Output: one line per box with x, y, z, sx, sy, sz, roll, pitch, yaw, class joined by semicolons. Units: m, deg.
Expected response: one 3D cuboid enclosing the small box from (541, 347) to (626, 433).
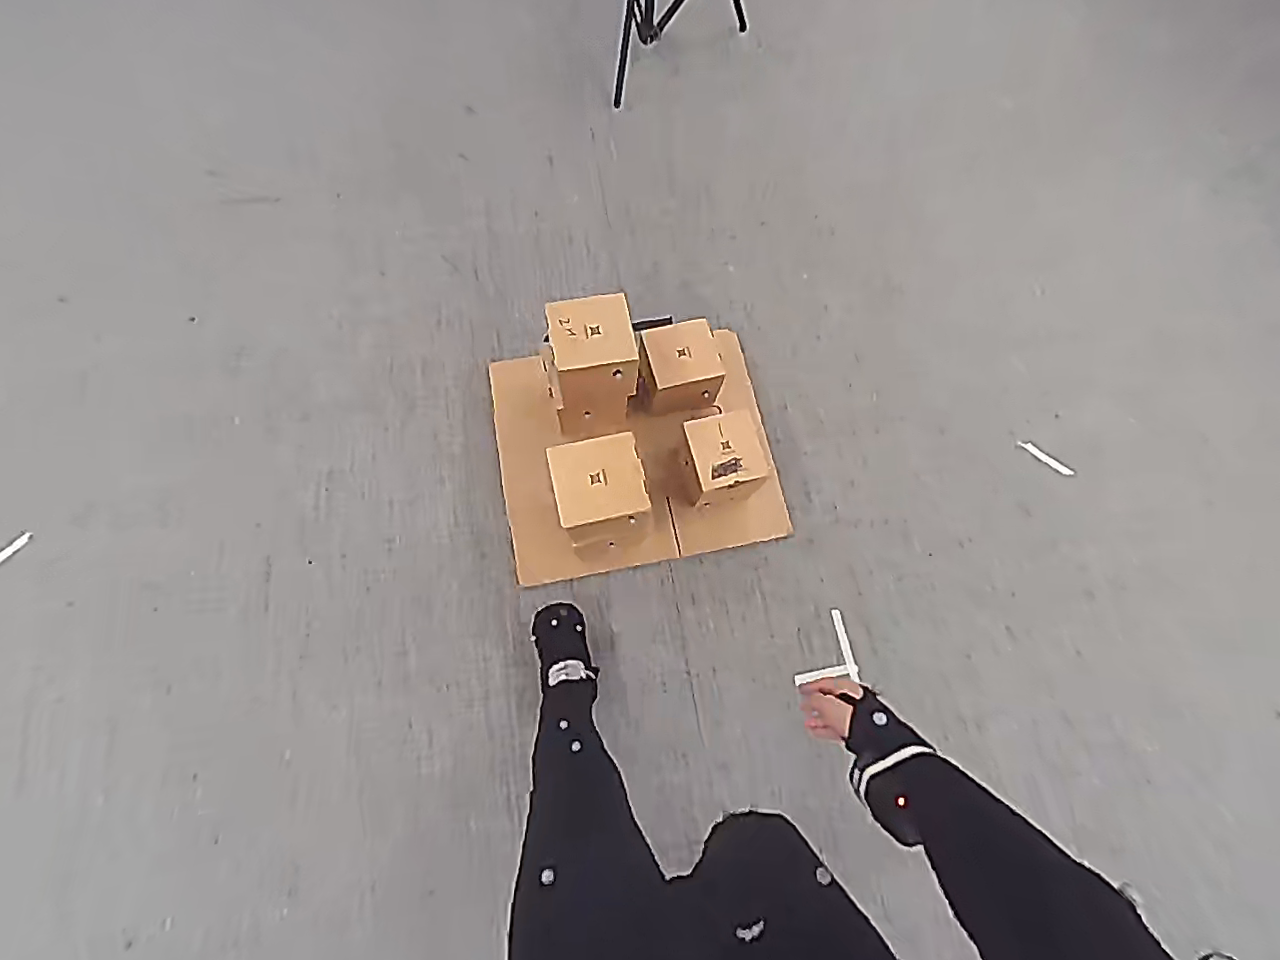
-0.135;-0.233;1.352;0.179;0.176;0.168;-14;75;-7;small box

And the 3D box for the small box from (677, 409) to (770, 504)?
0.196;-0.048;1.318;0.168;0.176;0.179;-13;75;-7;small box

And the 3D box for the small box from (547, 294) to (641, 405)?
-0.102;-0.283;1.196;0.179;0.176;0.168;-10;74;-6;small box

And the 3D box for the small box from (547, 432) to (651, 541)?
-0.082;0.020;1.109;0.179;0.176;0.168;-12;75;-7;small box

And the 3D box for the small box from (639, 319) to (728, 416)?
0.103;-0.283;1.384;0.179;0.176;0.168;-14;74;-7;small box
